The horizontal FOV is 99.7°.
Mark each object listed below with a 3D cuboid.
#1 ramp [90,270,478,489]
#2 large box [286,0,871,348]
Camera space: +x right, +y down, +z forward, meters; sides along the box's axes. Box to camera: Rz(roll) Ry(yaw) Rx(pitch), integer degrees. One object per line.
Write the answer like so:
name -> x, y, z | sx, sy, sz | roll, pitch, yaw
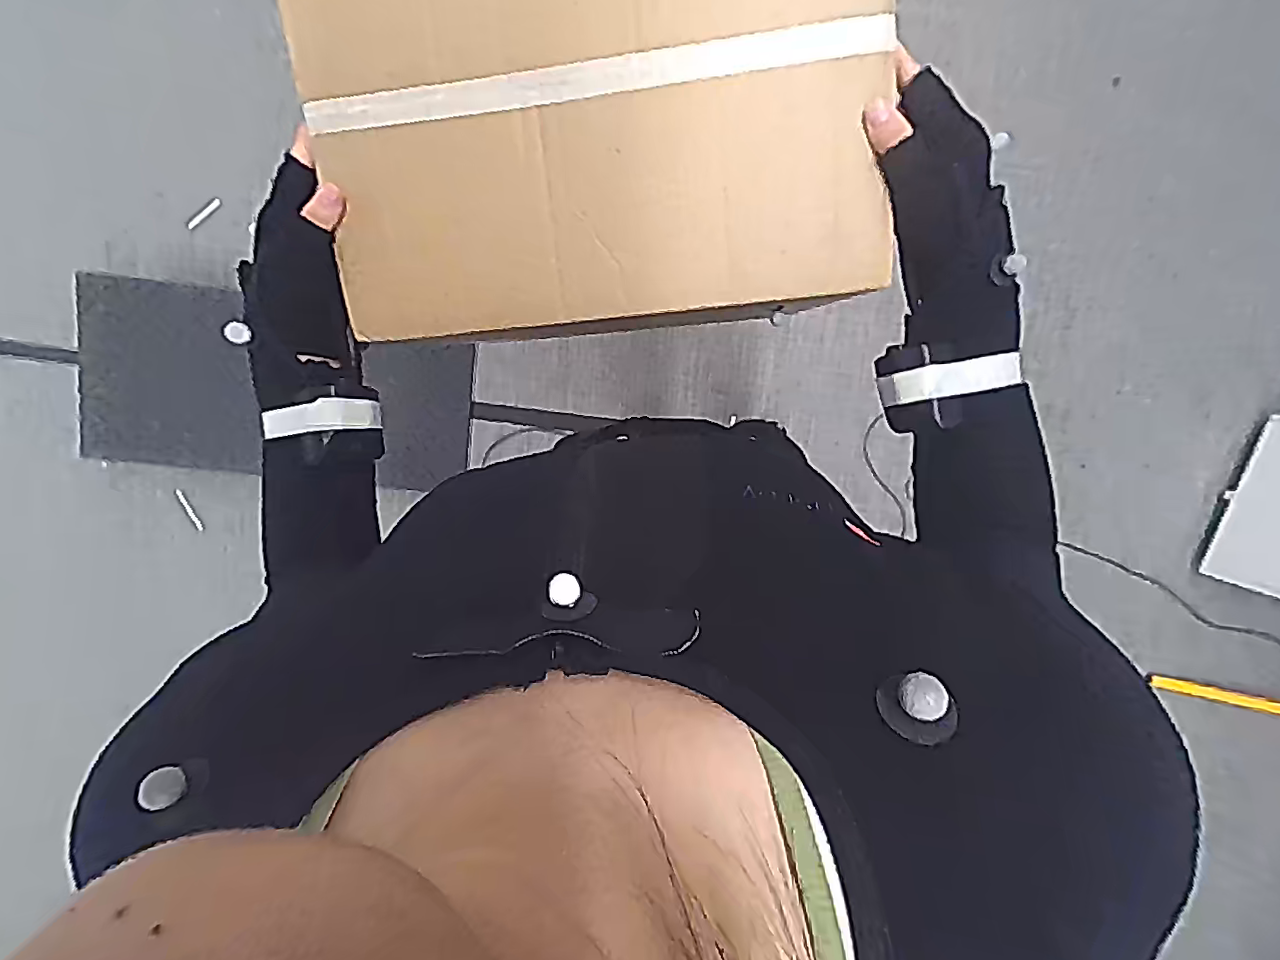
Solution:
ramp -> -0.960, -0.263, 1.481 | 0.991, 0.206, 0.509 | 6, 97, 5
large box -> -0.031, -0.313, 0.526 | 0.408, 0.320, 0.320 | -6, 103, 6
